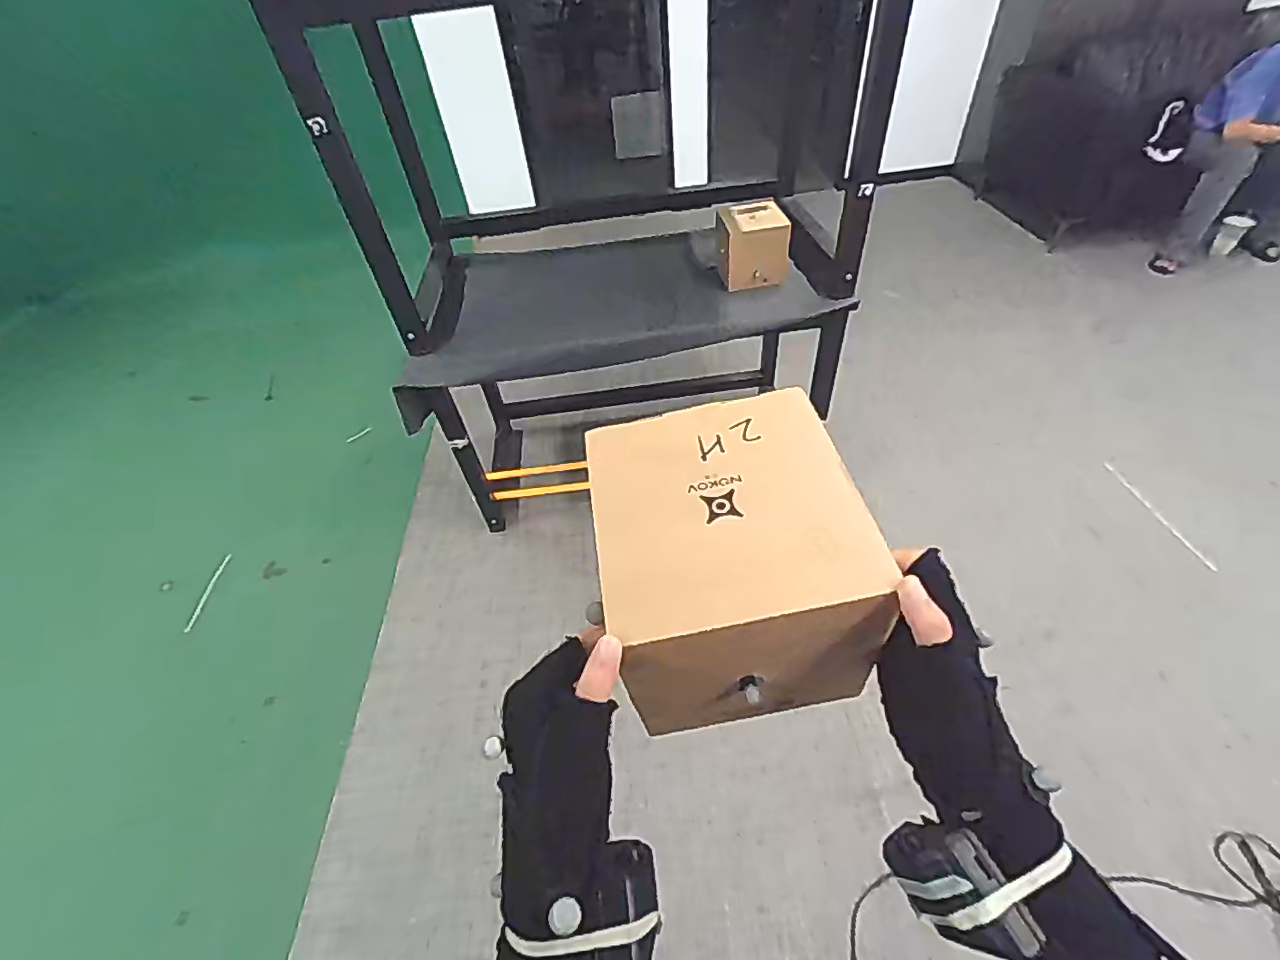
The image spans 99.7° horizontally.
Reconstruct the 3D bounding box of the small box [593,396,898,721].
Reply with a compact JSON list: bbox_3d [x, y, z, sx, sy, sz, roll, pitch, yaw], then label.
[{"bbox_3d":[0.067,0.068,0.415,0.168,0.176,0.179,-12,48,0],"label":"small box"}]
